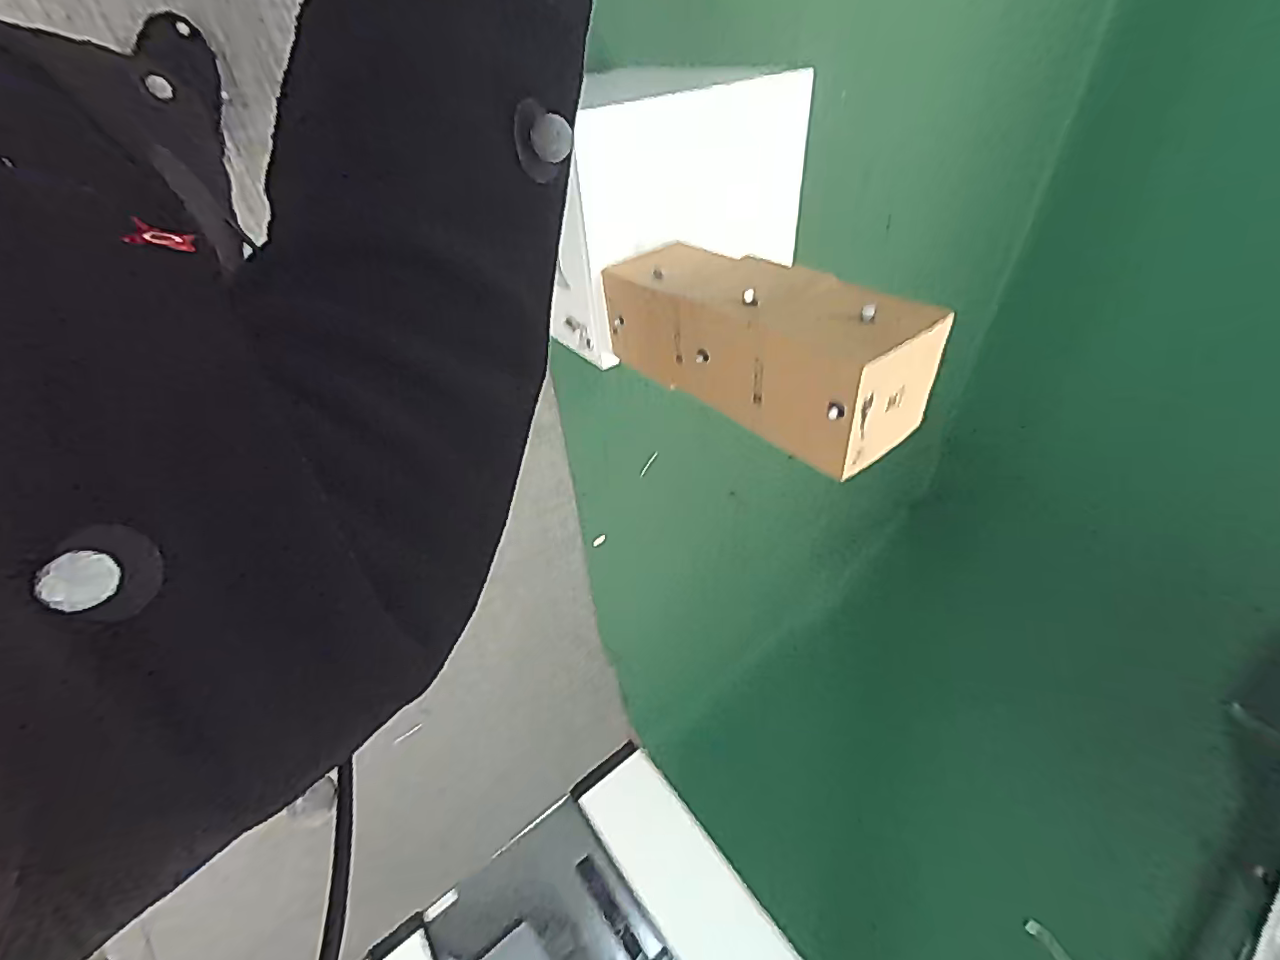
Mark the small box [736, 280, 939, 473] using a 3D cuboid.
[{"bbox_3d":[0.251,-0.146,0.718,0.179,0.176,0.168,-32,137,-25],"label":"small box"}]

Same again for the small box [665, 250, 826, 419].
[{"bbox_3d":[0.150,-0.226,0.819,0.179,0.176,0.168,-33,138,-23],"label":"small box"}]
